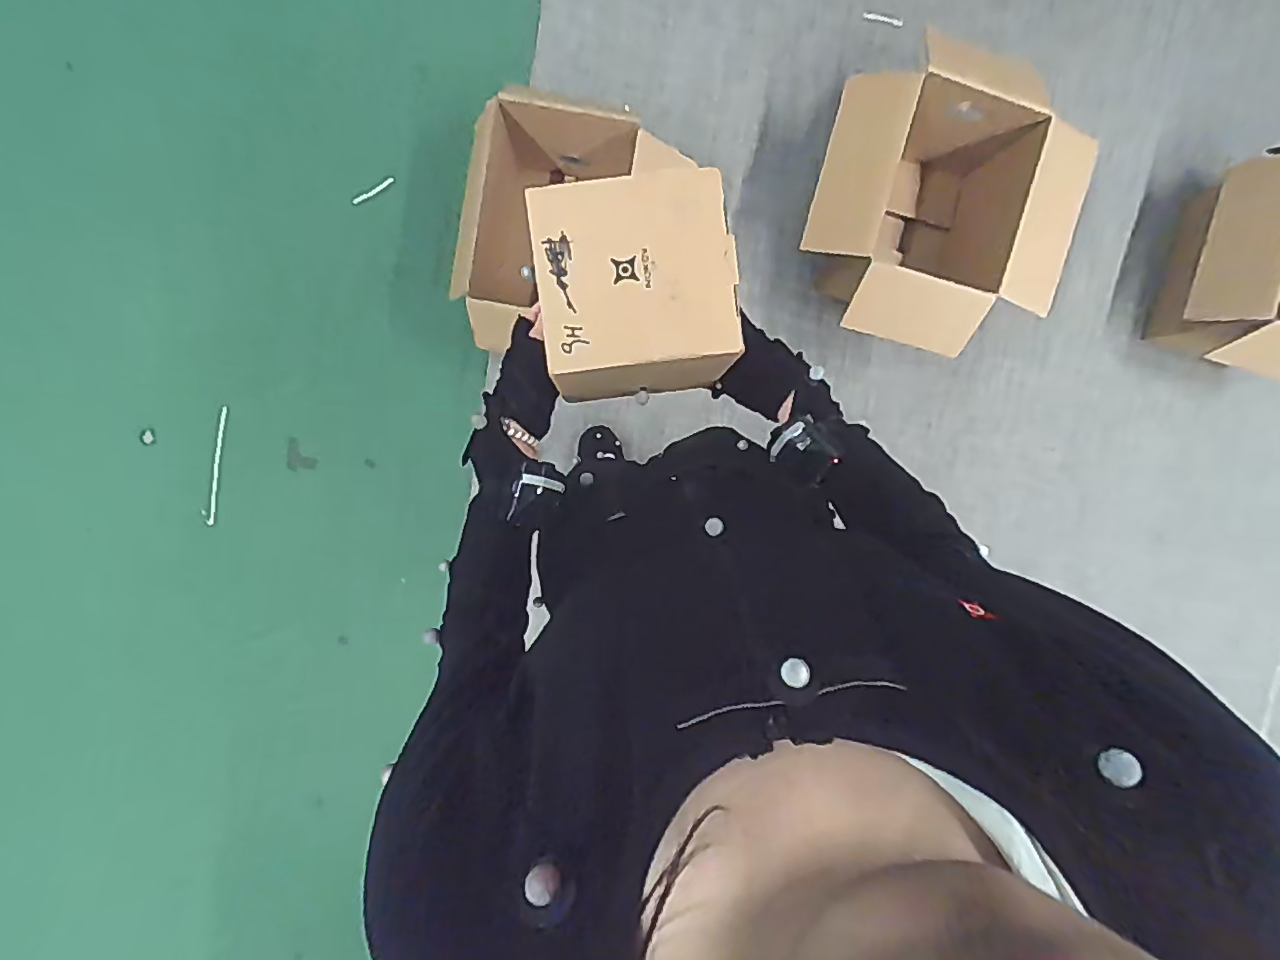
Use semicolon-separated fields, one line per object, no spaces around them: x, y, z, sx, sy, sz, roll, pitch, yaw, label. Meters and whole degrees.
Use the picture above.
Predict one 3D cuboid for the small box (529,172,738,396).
-0.010;-0.186;0.557;0.179;0.176;0.168;-6;89;-3;small box
